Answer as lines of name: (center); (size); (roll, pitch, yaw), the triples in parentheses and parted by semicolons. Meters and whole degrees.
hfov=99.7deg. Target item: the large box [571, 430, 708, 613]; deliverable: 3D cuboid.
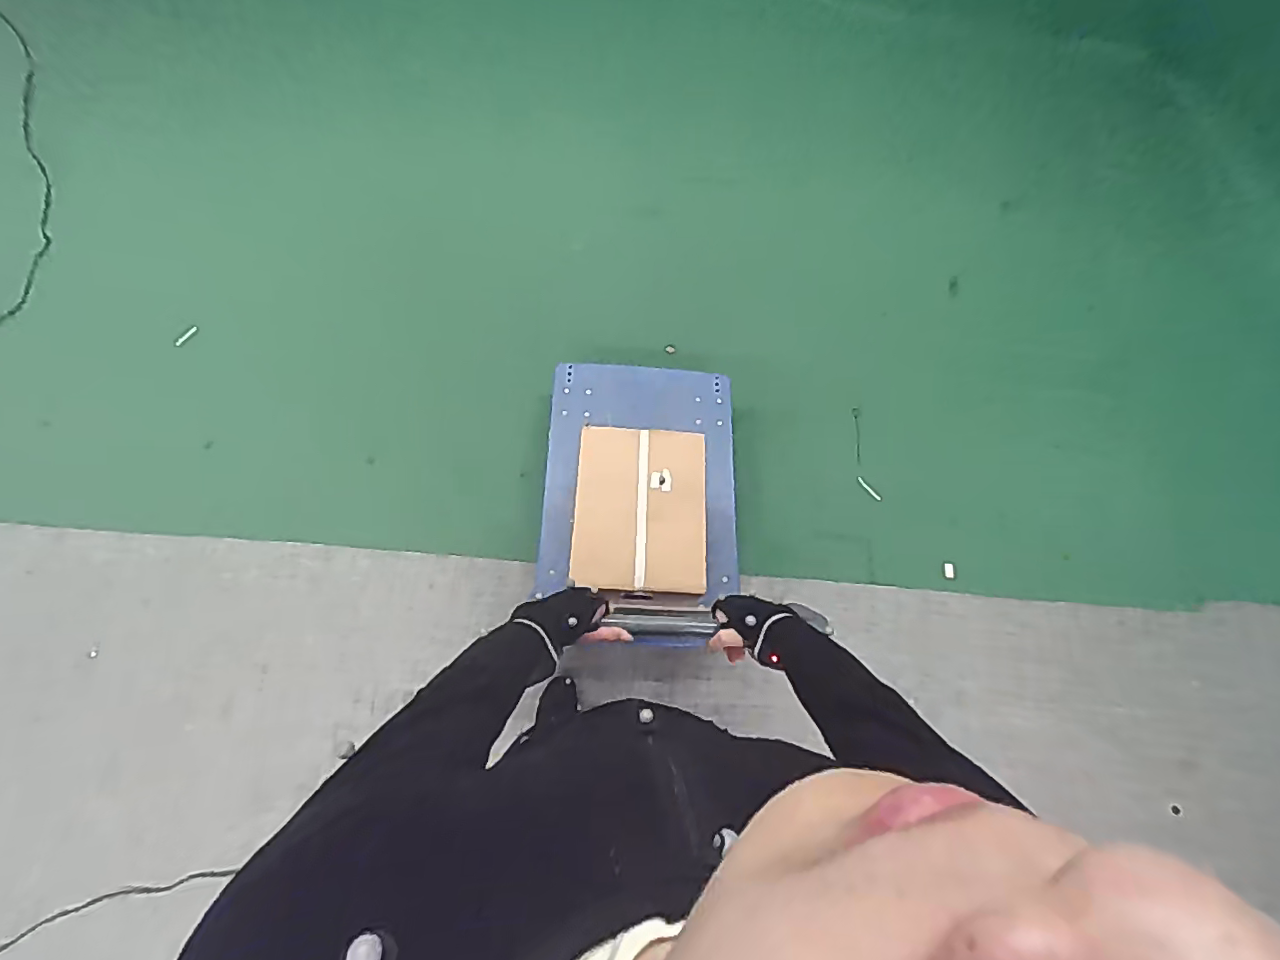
large box: (-0.009, 0.122, 1.412); (0.320, 0.320, 0.408); (4, 68, -5)
